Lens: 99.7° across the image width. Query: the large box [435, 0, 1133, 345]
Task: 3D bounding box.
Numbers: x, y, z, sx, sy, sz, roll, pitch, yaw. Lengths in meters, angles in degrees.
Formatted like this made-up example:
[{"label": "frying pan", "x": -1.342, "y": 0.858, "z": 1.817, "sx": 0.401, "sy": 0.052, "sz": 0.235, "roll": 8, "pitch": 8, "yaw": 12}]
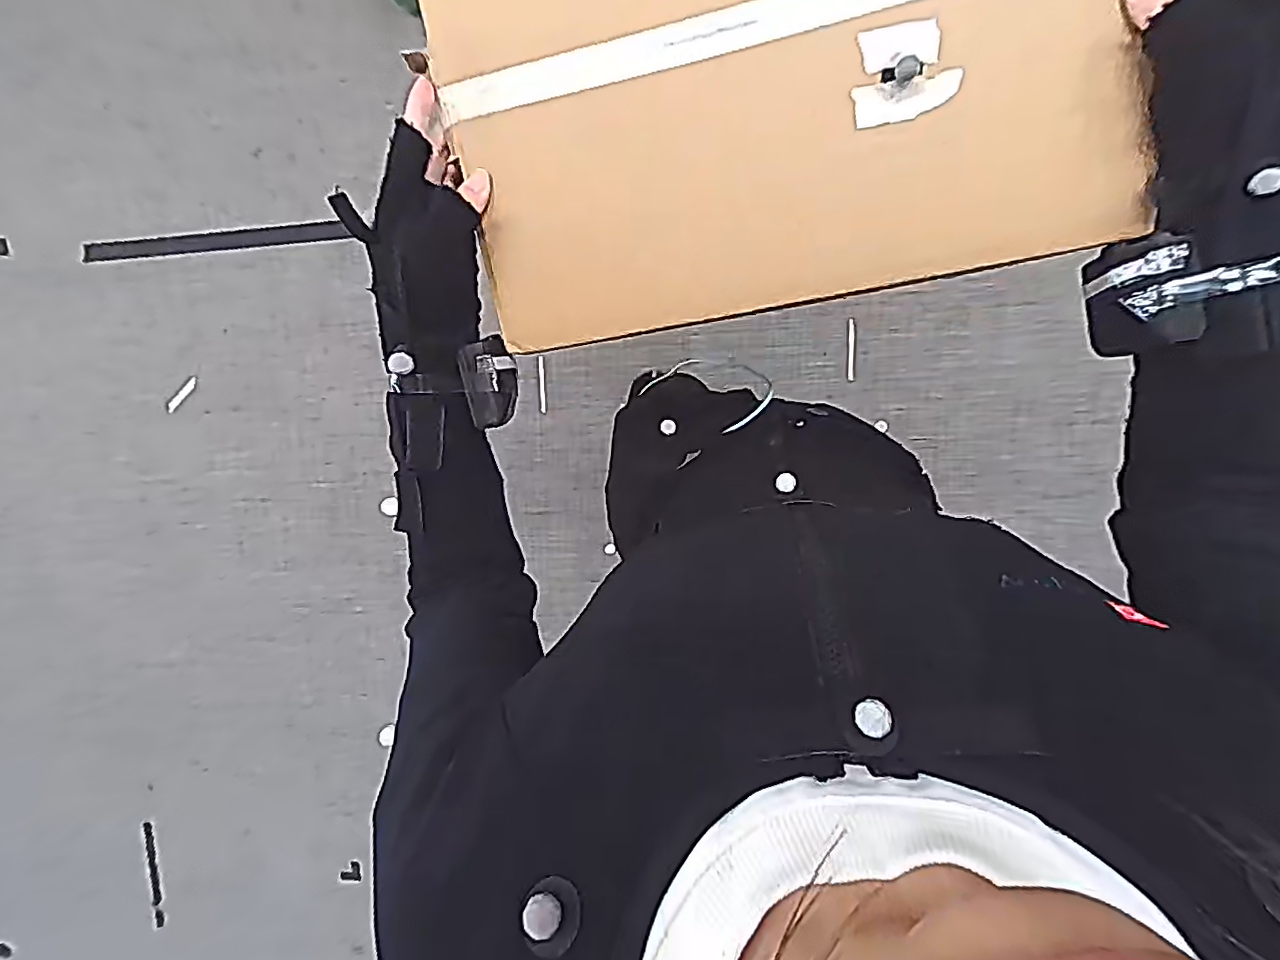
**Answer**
[{"label": "large box", "x": 0.088, "y": -0.314, "z": 0.466, "sx": 0.408, "sy": 0.320, "sz": 0.320, "roll": -9, "pitch": 106, "yaw": 7}]
